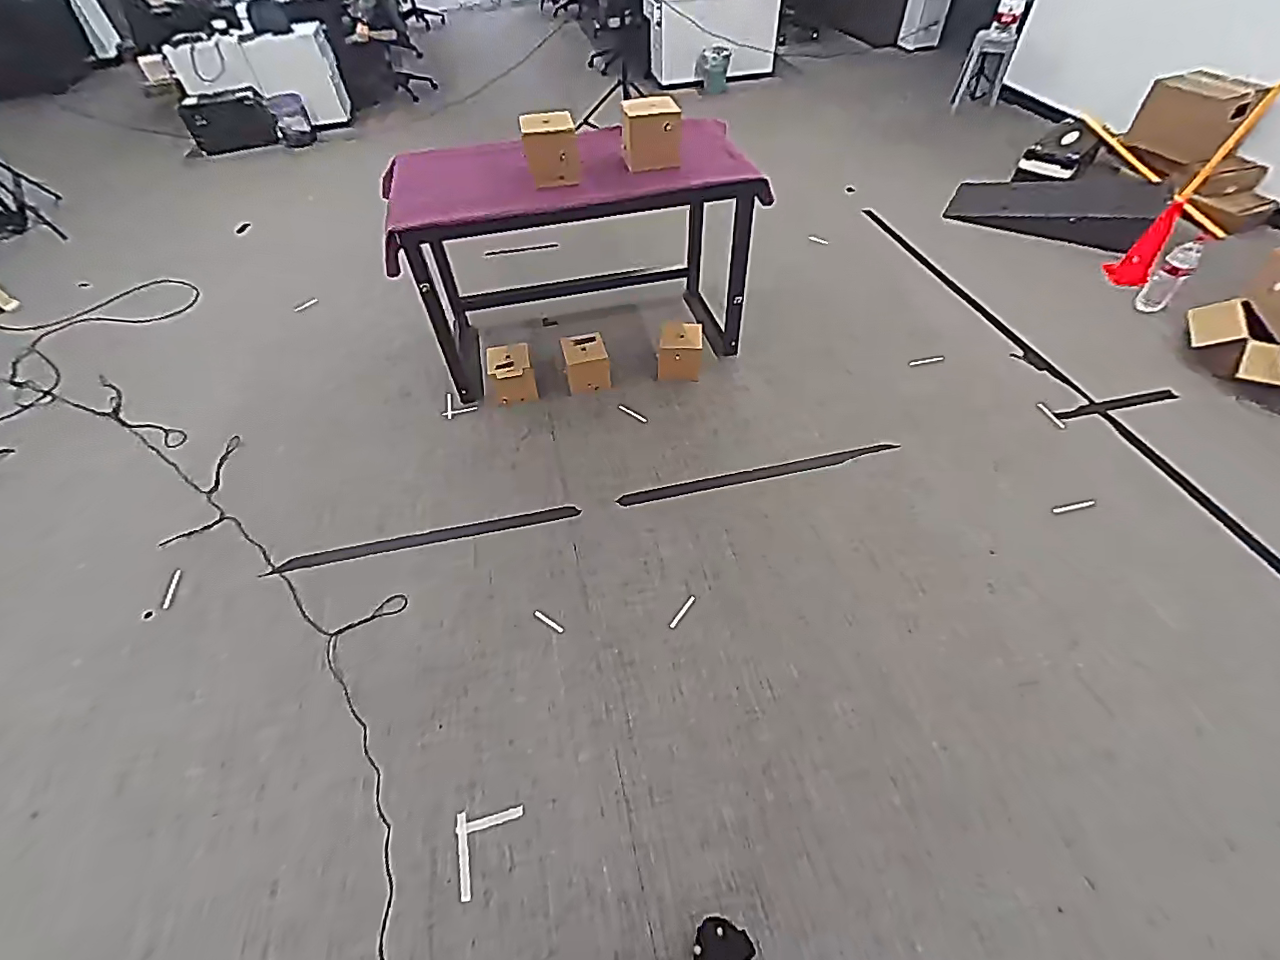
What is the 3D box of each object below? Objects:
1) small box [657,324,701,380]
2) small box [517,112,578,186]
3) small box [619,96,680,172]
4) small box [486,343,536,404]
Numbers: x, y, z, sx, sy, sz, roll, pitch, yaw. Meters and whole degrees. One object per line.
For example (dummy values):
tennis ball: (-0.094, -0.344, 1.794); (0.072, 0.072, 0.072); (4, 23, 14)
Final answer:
small box: (0.161, -0.530, 2.246); (0.179, 0.176, 0.168); (1, 51, 5)
small box: (-0.301, -1.080, 1.774); (0.168, 0.176, 0.179); (-10, 49, -7)
small box: (0.030, -1.172, 1.832); (0.179, 0.176, 0.168); (-11, 50, -5)
small box: (-0.521, -0.426, 2.190); (0.168, 0.176, 0.179); (-11, 50, -6)
